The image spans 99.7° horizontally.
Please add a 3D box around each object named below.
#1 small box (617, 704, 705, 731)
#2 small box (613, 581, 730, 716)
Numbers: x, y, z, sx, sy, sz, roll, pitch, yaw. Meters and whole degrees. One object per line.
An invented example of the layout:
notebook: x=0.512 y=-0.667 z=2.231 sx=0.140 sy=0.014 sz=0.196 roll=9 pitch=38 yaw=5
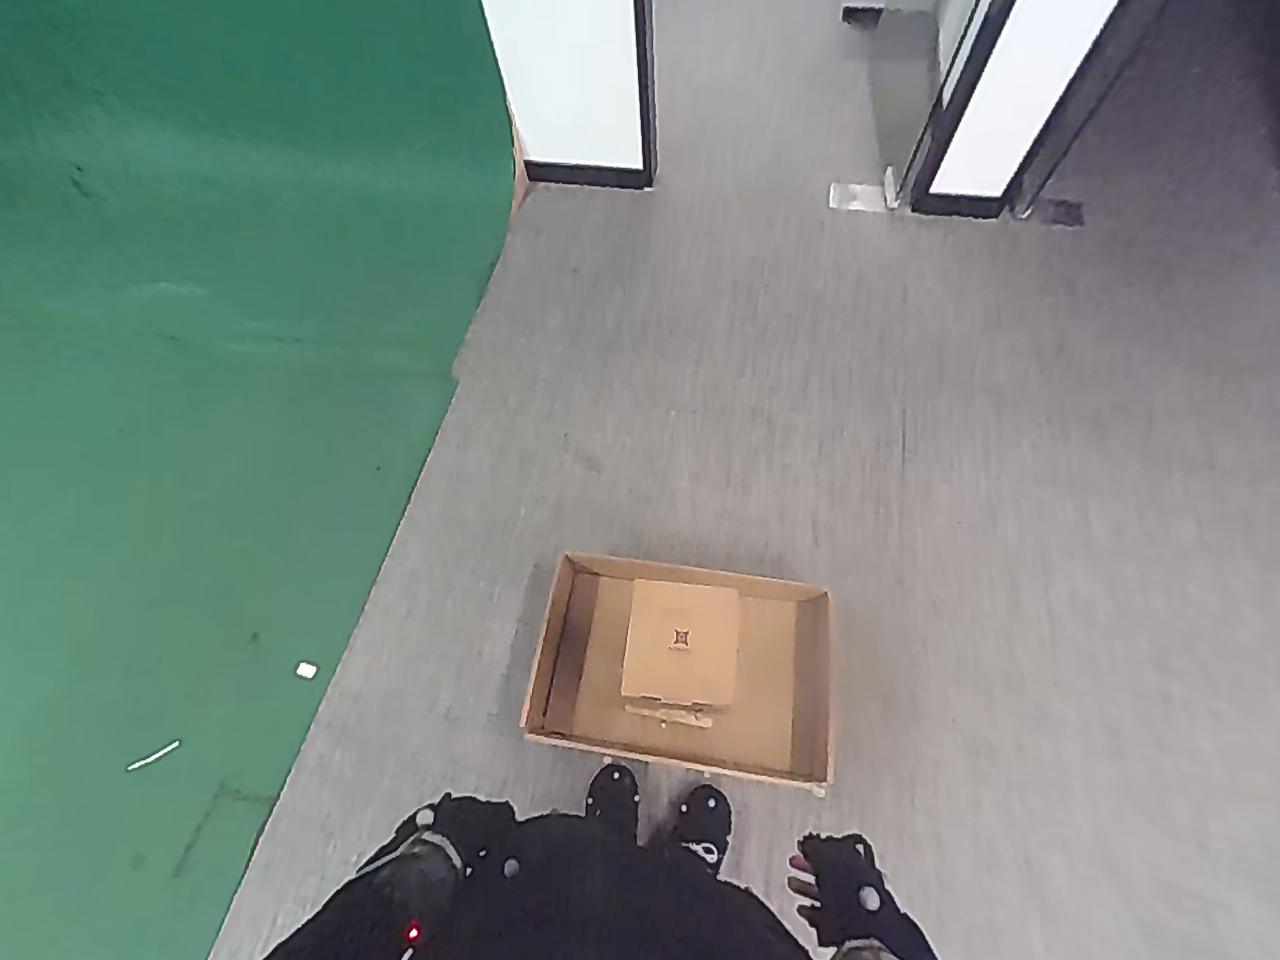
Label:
small box: x=0.058 y=0.444 z=1.181 sx=0.179 sy=0.176 sz=0.168 roll=8 pitch=63 yaw=8
small box: x=0.053 y=0.280 z=0.882 sx=0.168 sy=0.176 sz=0.179 roll=5 pitch=63 yaw=4
